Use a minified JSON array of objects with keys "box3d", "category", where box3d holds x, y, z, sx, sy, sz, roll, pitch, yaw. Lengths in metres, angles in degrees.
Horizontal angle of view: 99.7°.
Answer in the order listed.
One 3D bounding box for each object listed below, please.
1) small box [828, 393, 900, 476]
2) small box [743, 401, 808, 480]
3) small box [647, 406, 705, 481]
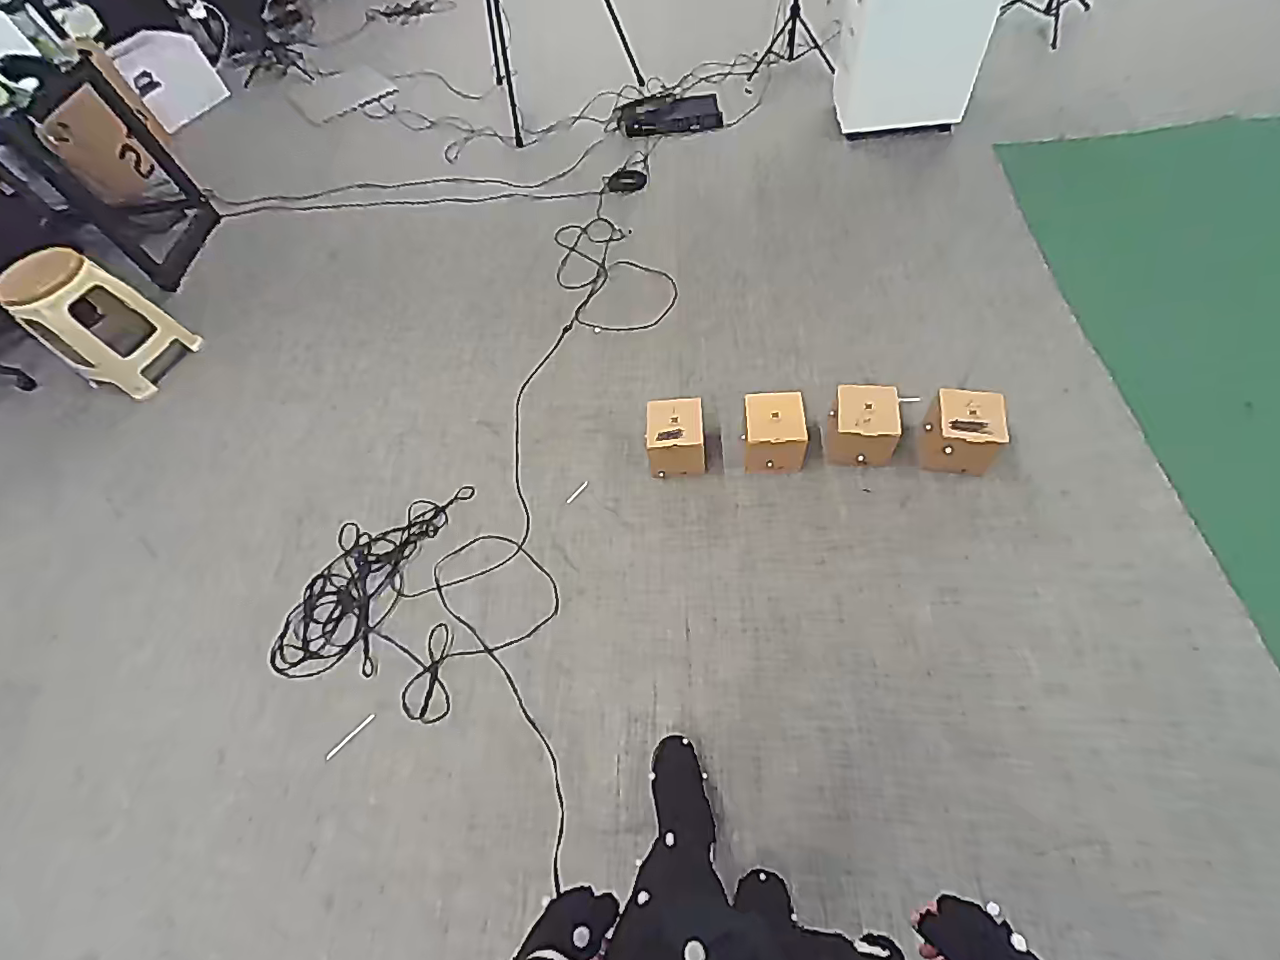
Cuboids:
[{"box3d":[0.657,-0.135,1.603,0.168,0.176,0.179,5,60,12],"category":"small box"},{"box3d":[0.403,-0.118,1.632,0.168,0.176,0.179,-2,58,7],"category":"small box"},{"box3d":[0.114,-0.106,1.664,0.168,0.176,0.179,-3,57,7],"category":"small box"}]
